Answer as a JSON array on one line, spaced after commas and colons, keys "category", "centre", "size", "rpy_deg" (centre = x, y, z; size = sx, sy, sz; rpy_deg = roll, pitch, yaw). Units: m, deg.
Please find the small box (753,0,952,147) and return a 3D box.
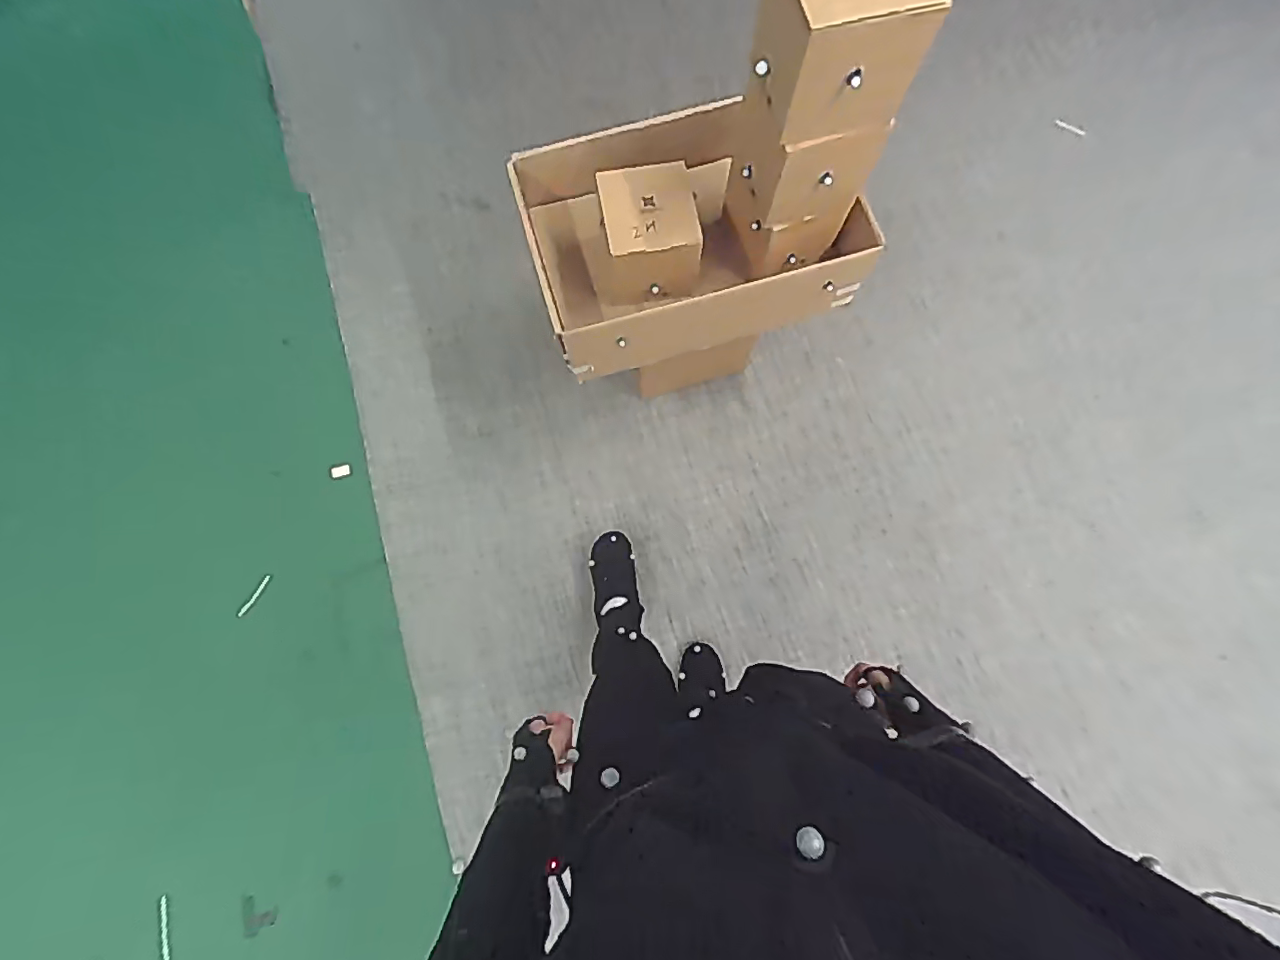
[{"category": "small box", "centre": [0.268, -0.593, 0.727], "size": [0.179, 0.176, 0.168], "rpy_deg": [-13, 77, -1]}]
